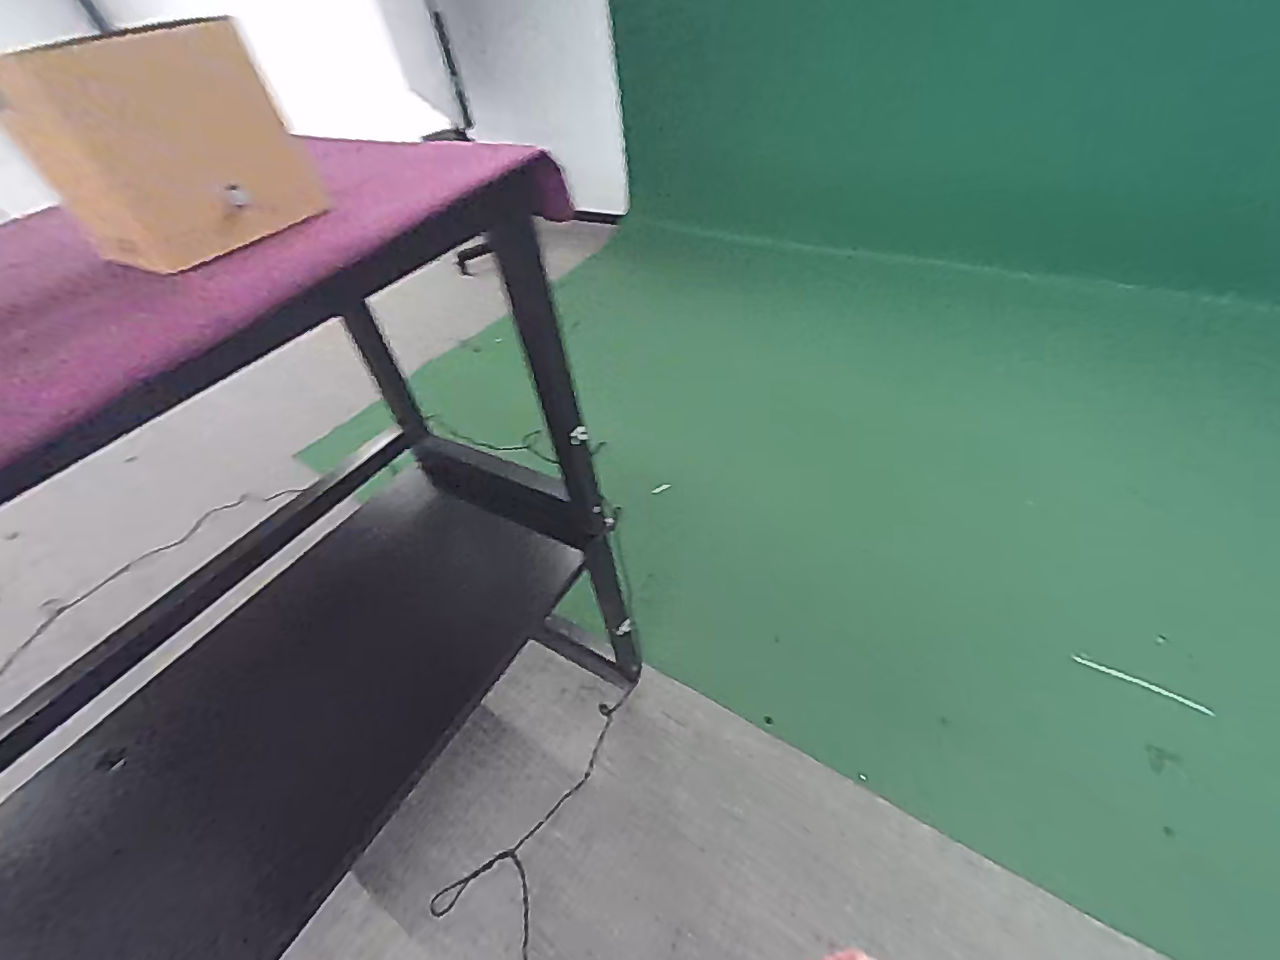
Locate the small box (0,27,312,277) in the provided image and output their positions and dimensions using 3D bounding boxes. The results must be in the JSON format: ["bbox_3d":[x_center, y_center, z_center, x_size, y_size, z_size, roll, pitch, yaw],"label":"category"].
[{"bbox_3d":[-0.468,-0.324,0.537,0.168,0.176,0.179,18,50,28],"label":"small box"}]
